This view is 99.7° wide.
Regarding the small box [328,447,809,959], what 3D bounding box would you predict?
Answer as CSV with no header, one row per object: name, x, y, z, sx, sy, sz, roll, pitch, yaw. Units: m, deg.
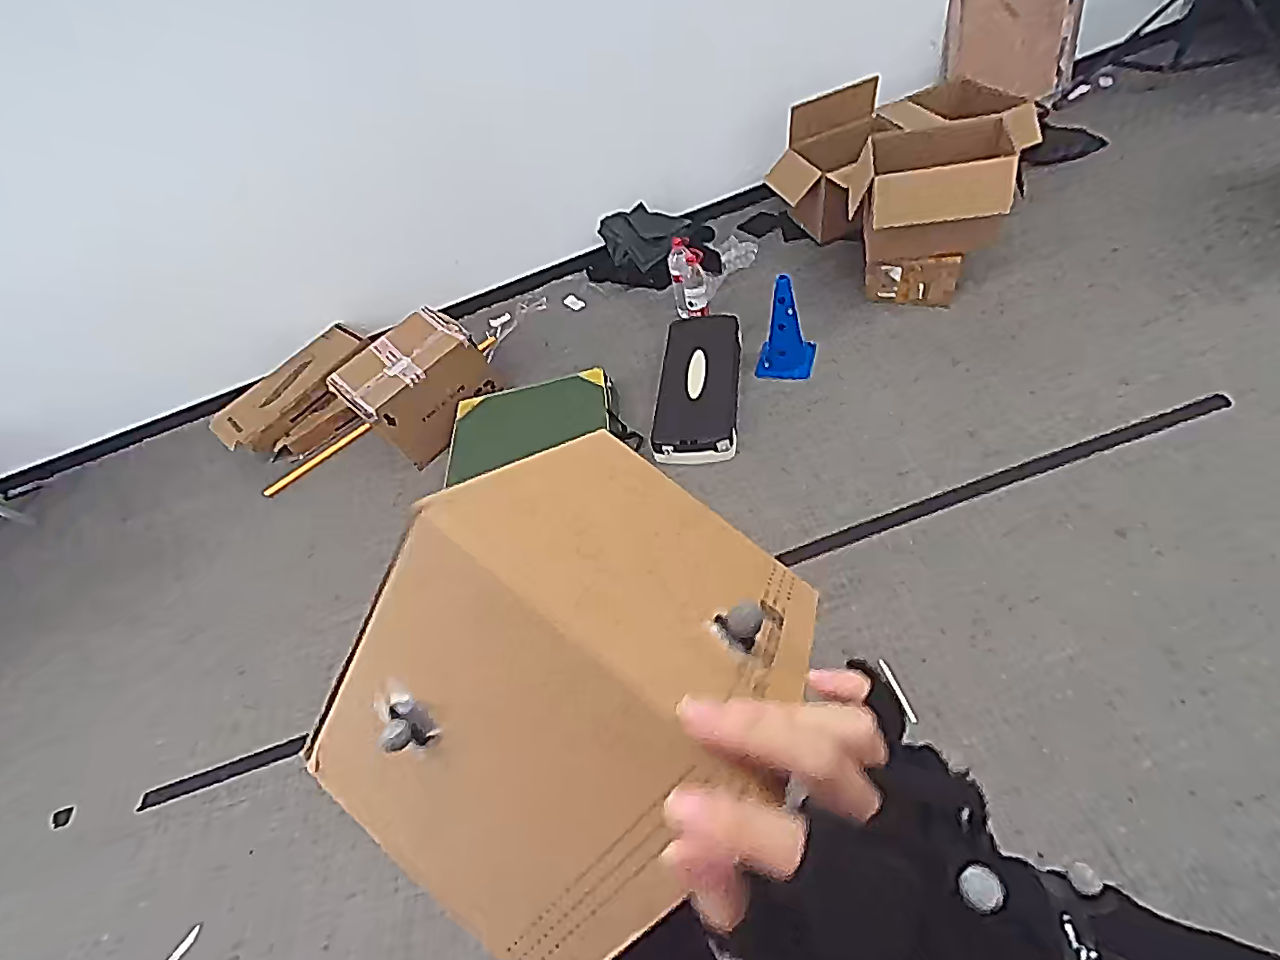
small box,-0.029,0.109,0.310,0.176,0.168,0.179,37,112,8
